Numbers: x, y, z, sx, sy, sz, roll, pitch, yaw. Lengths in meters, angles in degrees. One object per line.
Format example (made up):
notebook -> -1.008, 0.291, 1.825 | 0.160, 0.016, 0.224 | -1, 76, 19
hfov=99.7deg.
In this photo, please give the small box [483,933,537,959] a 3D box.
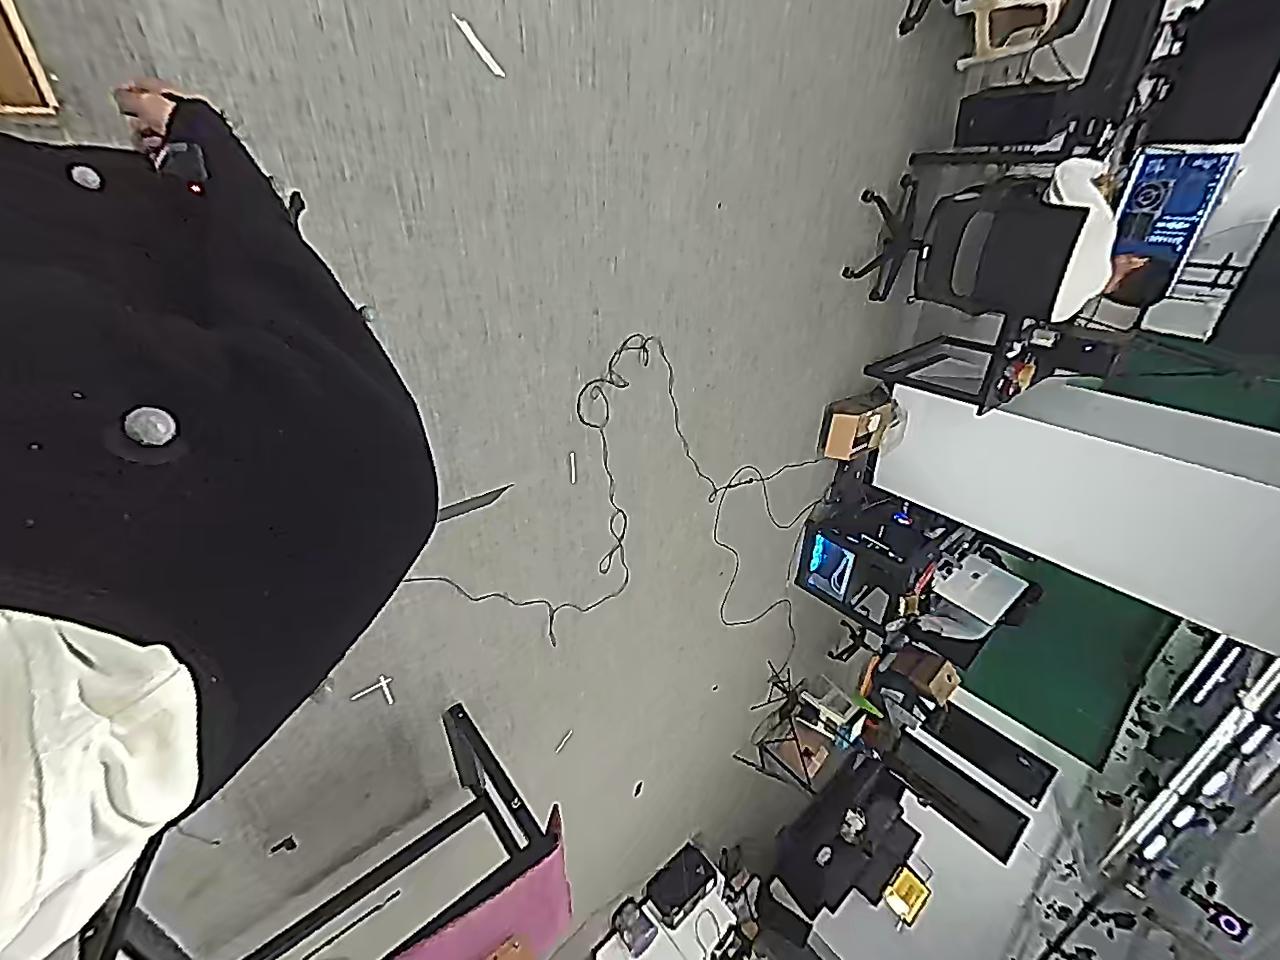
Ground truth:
small box -> -0.426, 1.657, 1.780 | 0.168, 0.176, 0.179 | -16, 123, -38
